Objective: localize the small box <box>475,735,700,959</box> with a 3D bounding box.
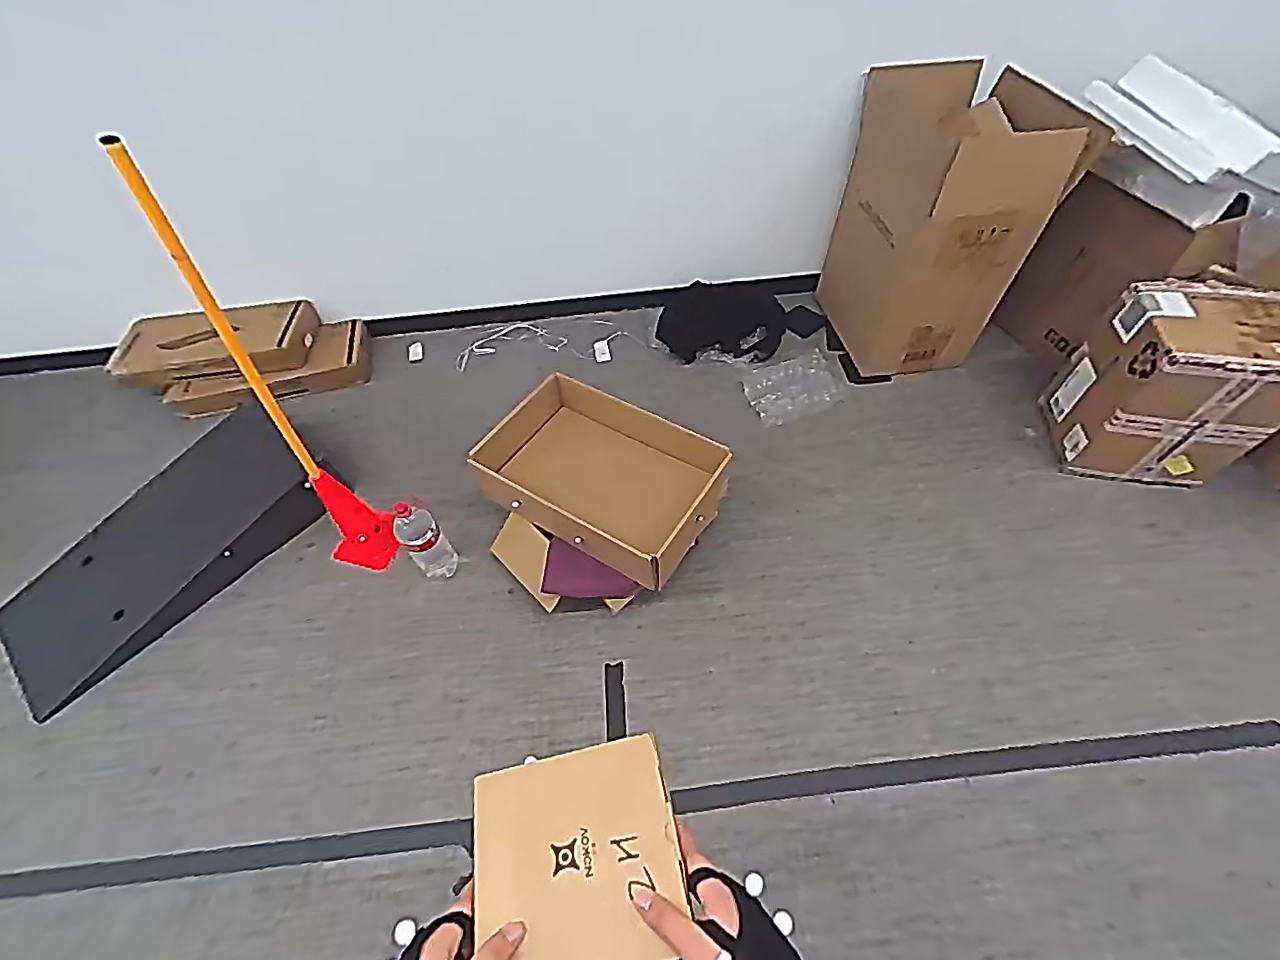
[{"bbox_3d":[-0.046,0.373,0.520,0.179,0.176,0.168,-12,49,-4],"label":"small box"}]
